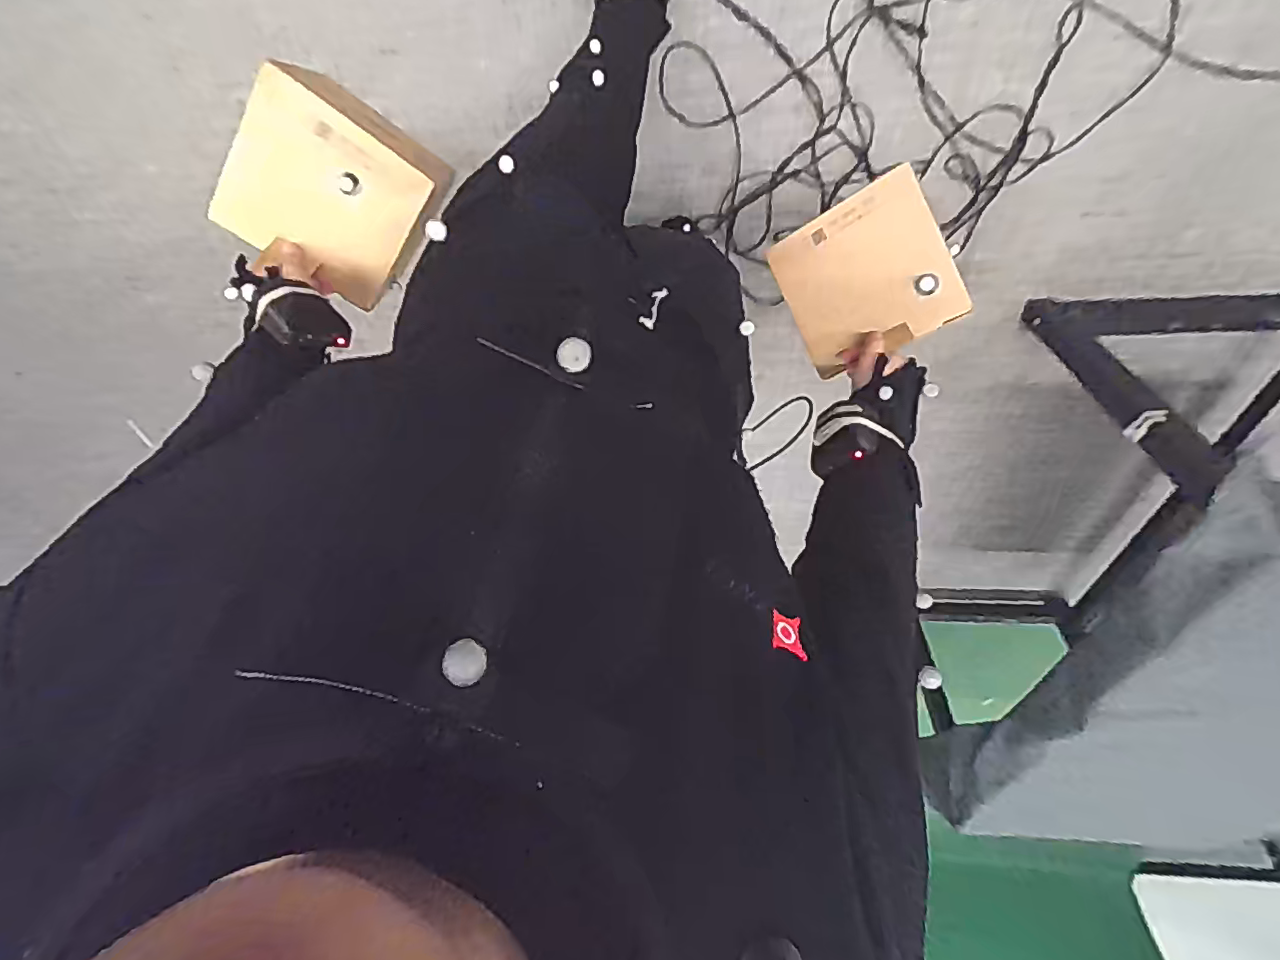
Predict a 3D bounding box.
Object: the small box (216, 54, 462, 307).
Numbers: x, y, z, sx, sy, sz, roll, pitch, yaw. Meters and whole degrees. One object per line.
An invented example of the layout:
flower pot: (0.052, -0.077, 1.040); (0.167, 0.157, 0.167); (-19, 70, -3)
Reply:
small box: (-0.322, -0.333, 0.616); (0.168, 0.179, 0.176); (32, 110, -26)
